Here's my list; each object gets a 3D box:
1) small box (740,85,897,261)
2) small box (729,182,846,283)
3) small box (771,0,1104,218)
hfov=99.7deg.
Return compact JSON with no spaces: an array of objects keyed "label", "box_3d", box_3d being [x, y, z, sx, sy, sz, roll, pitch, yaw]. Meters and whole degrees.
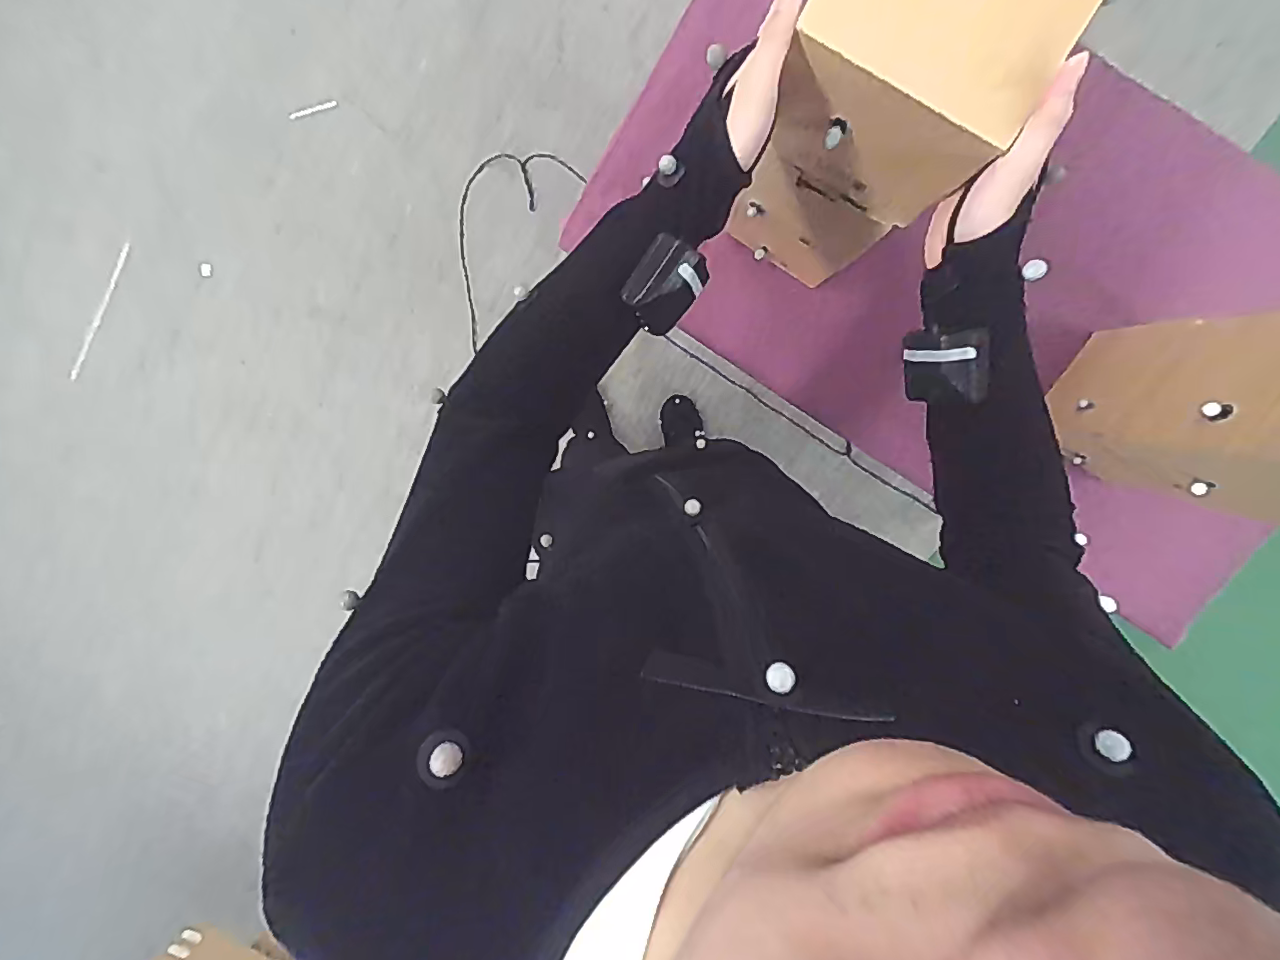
[{"label":"small box","box_3d":[0.221,-0.365,0.573,0.168,0.176,0.179,32,98,-2]},{"label":"small box","box_3d":[0.235,-0.397,0.733,0.168,0.176,0.179,32,100,-2]},{"label":"small box","box_3d":[0.217,-0.338,0.414,0.168,0.176,0.179,30,99,-1]}]
